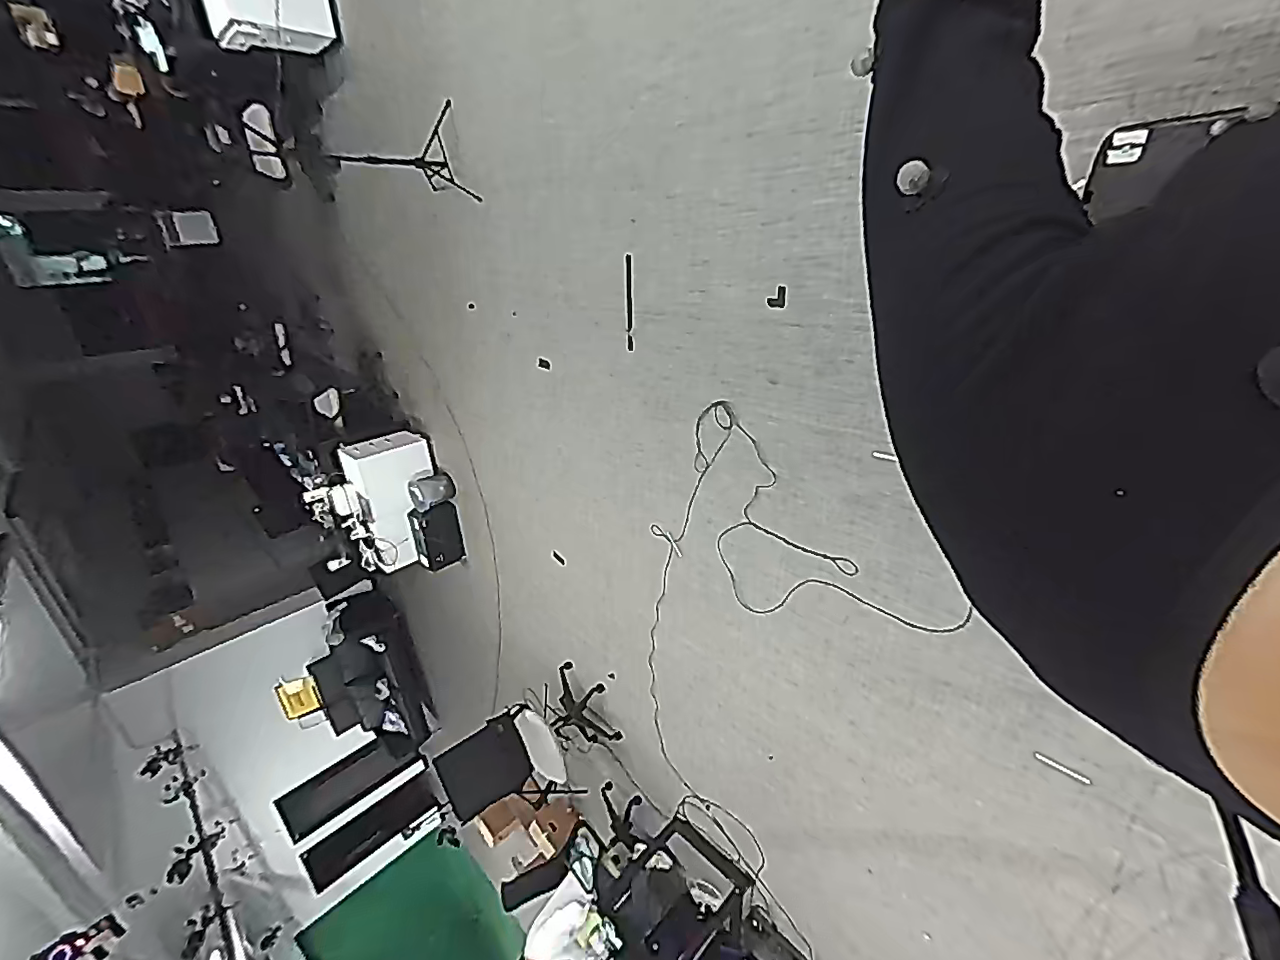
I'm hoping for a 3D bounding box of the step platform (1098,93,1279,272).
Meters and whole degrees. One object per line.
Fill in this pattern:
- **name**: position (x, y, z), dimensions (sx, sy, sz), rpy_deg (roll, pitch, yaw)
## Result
- **step platform**: position (1.217, -0.509, 0.903), dimensions (0.684, 0.204, 0.286), rpy_deg (18, 122, 41)
